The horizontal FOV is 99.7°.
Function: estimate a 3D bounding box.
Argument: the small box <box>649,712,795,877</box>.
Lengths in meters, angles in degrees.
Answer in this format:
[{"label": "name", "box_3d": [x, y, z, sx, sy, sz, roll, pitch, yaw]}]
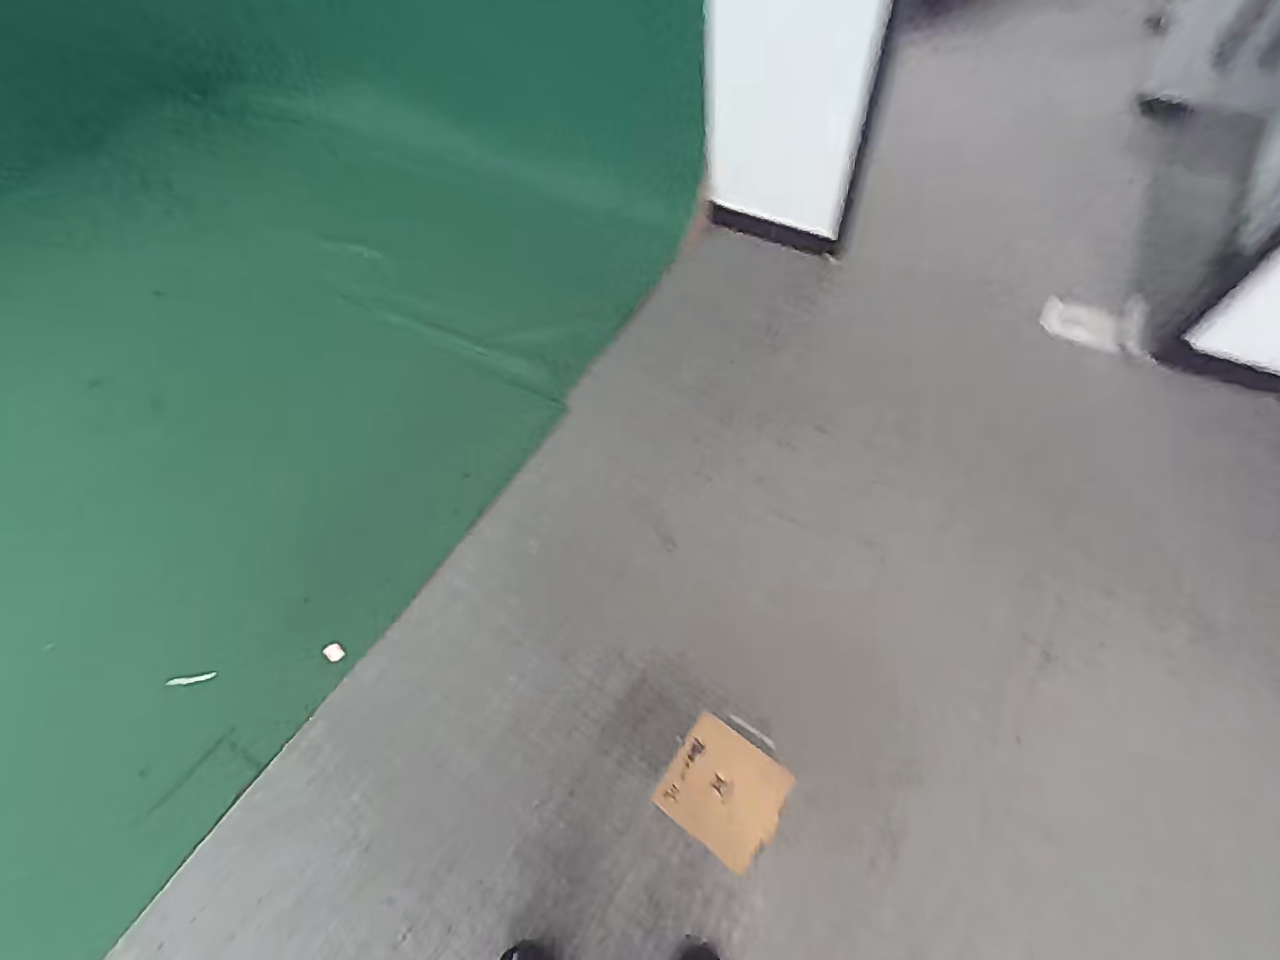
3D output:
[{"label": "small box", "box_3d": [0.140, 0.528, 0.931, 0.179, 0.176, 0.168, 33, 71, 22]}]
